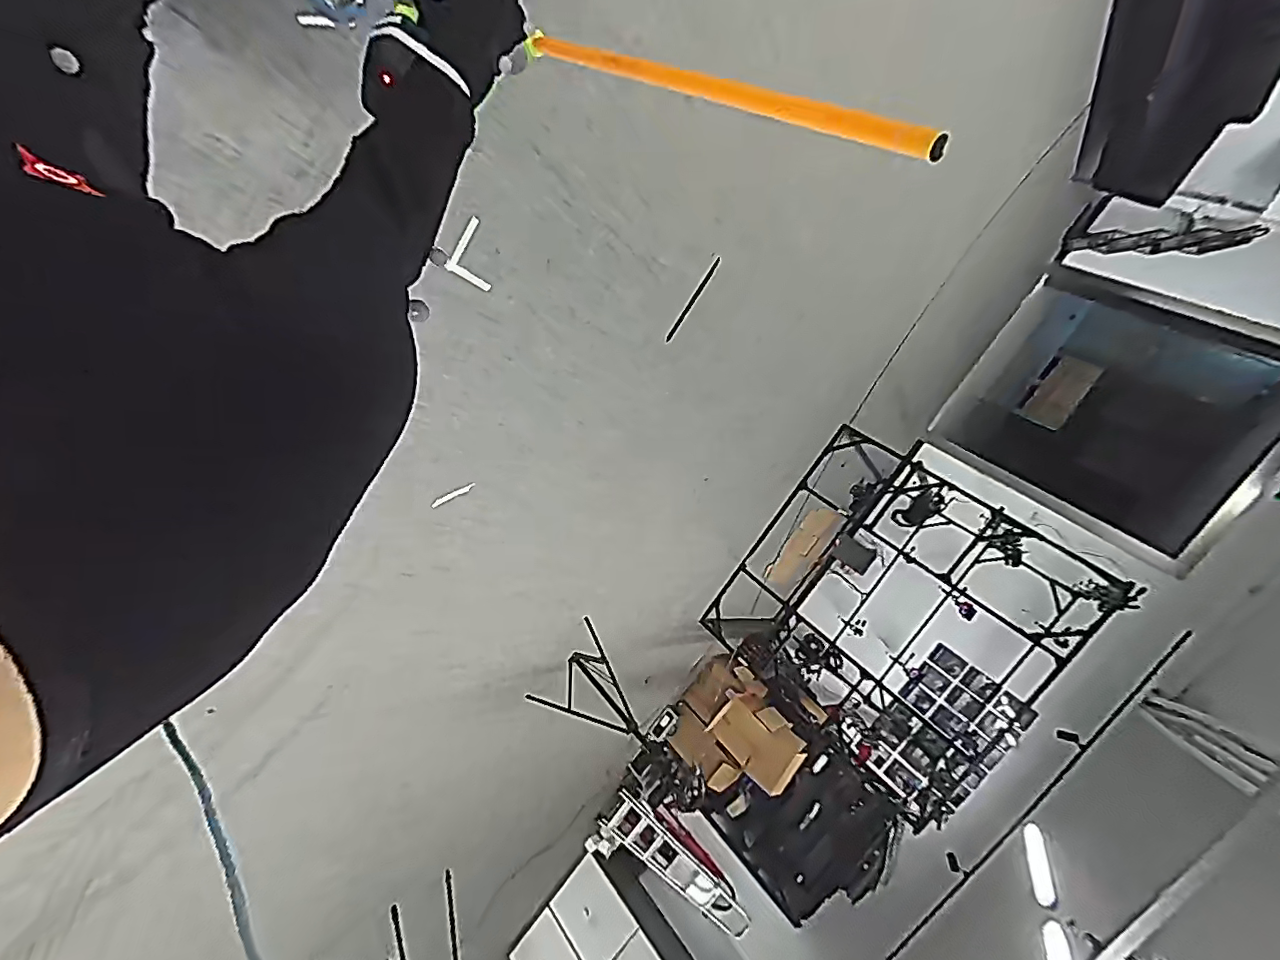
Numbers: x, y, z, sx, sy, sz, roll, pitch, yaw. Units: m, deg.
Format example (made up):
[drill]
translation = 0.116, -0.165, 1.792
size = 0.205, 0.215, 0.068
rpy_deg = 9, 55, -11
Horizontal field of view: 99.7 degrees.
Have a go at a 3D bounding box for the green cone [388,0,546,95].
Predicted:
[green cone]
translation = -0.314, -0.912, 1.101
size = 0.200, 0.368, 0.202
rpy_deg = -54, 149, 5
